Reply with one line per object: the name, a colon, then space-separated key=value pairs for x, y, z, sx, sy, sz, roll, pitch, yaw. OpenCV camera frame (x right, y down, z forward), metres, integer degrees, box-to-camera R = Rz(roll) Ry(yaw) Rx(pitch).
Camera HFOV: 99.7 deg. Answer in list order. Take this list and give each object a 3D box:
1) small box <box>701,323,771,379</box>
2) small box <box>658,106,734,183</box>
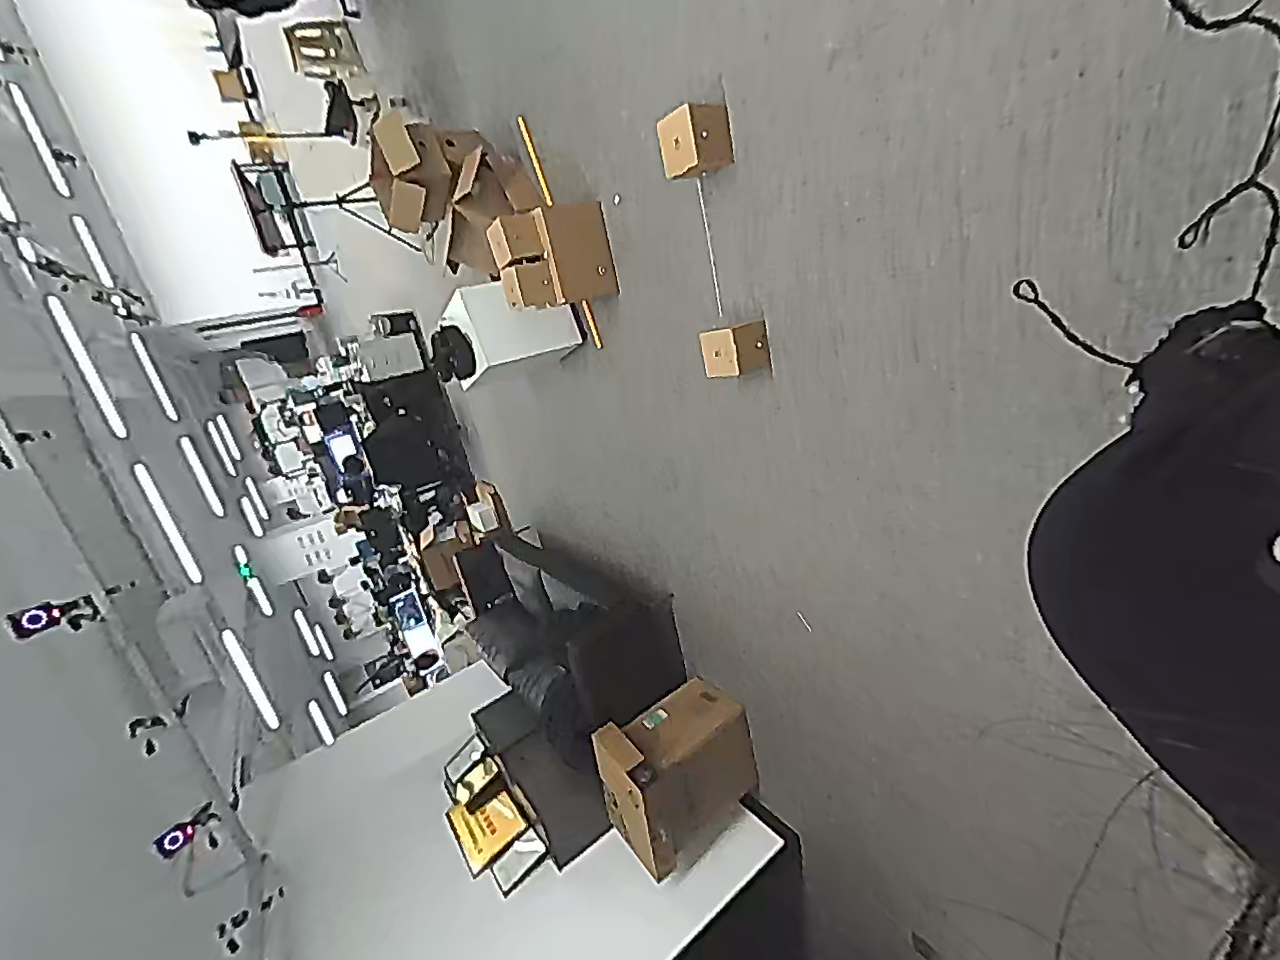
small box: x=0.354 y=-0.471 z=1.981 sx=0.179 sy=0.176 sz=0.168 roll=11 pitch=120 yaw=55
small box: x=0.187 y=-1.110 z=1.796 sx=0.168 sy=0.176 sz=0.179 roll=11 pitch=120 yaw=54
